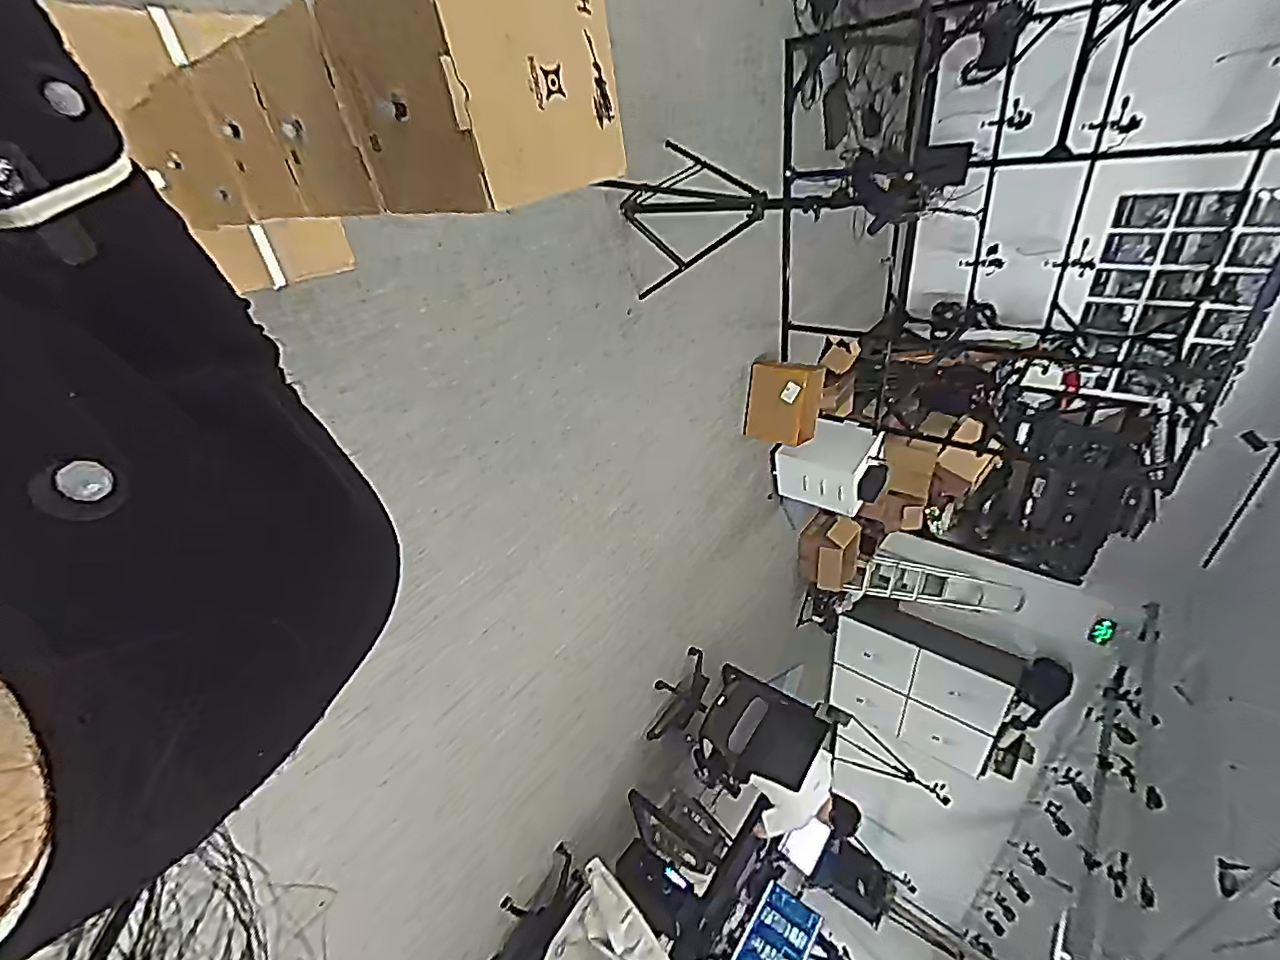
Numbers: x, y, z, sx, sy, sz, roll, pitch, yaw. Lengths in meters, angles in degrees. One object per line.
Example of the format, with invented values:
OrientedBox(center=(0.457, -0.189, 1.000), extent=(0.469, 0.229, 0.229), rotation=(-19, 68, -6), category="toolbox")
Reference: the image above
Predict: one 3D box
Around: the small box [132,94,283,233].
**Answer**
OrientedBox(center=(-0.660, -0.506, 0.870), extent=(0.168, 0.176, 0.179), rotation=(-38, 134, -36), category="small box")

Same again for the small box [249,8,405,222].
OrientedBox(center=(-0.273, -0.390, 0.590), extent=(0.179, 0.176, 0.168), rotation=(-39, 133, -35), category="small box")

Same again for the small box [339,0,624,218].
OrientedBox(center=(-0.144, -0.348, 0.498), extent=(0.179, 0.176, 0.168), rotation=(-39, 134, -35), category="small box")

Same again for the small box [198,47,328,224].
OrientedBox(center=(-0.402, -0.432, 0.684), extent=(0.179, 0.176, 0.168), rotation=(-38, 133, -36), category="small box")
